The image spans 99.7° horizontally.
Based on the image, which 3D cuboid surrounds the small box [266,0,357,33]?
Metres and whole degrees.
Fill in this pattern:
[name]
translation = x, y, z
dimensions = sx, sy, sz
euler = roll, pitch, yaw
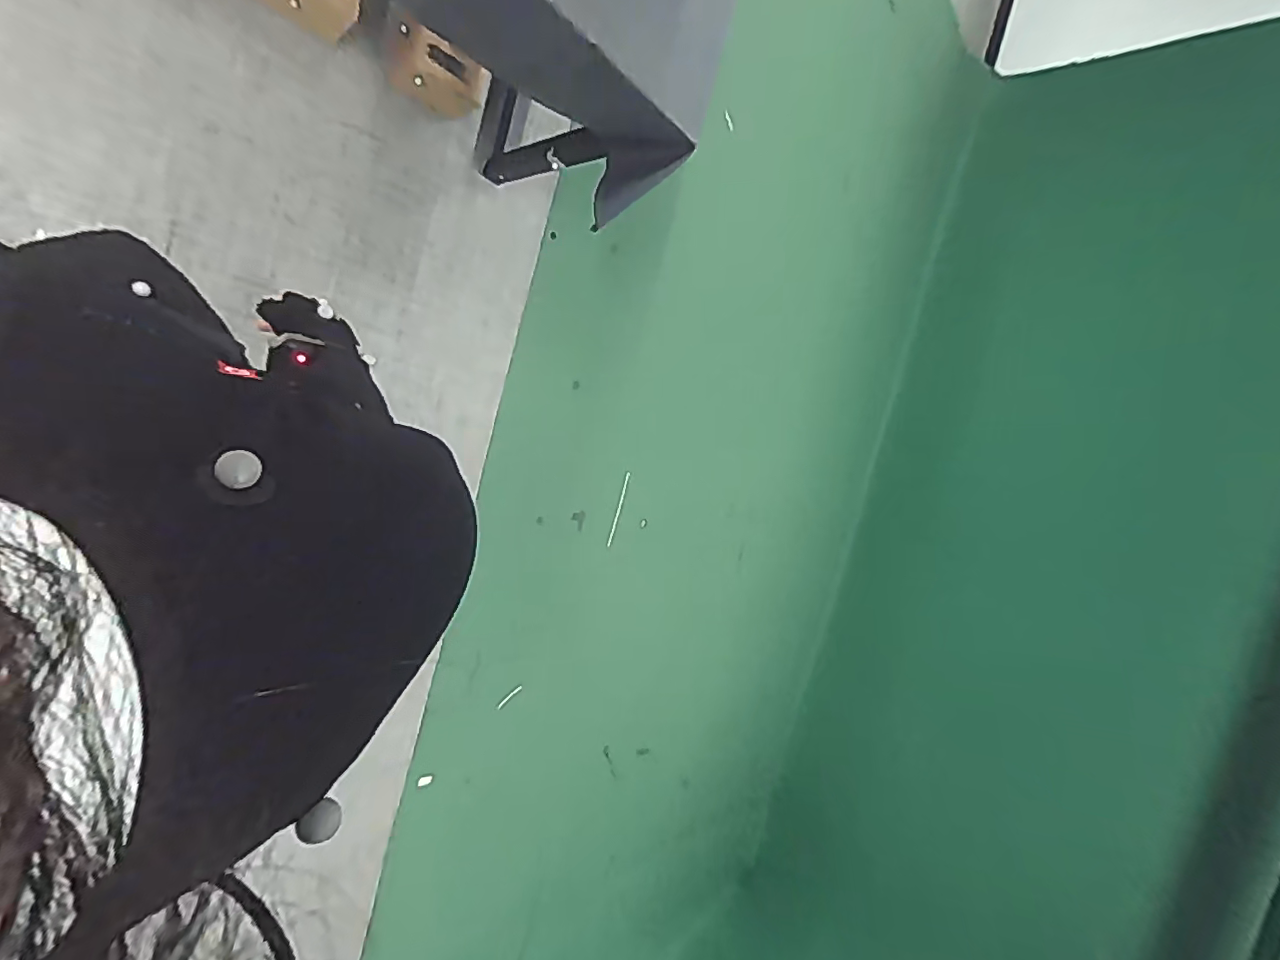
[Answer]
[small box]
translation = -0.670, -1.038, 1.070
dimensions = 0.179, 0.176, 0.168
euler = 8, 98, -47
